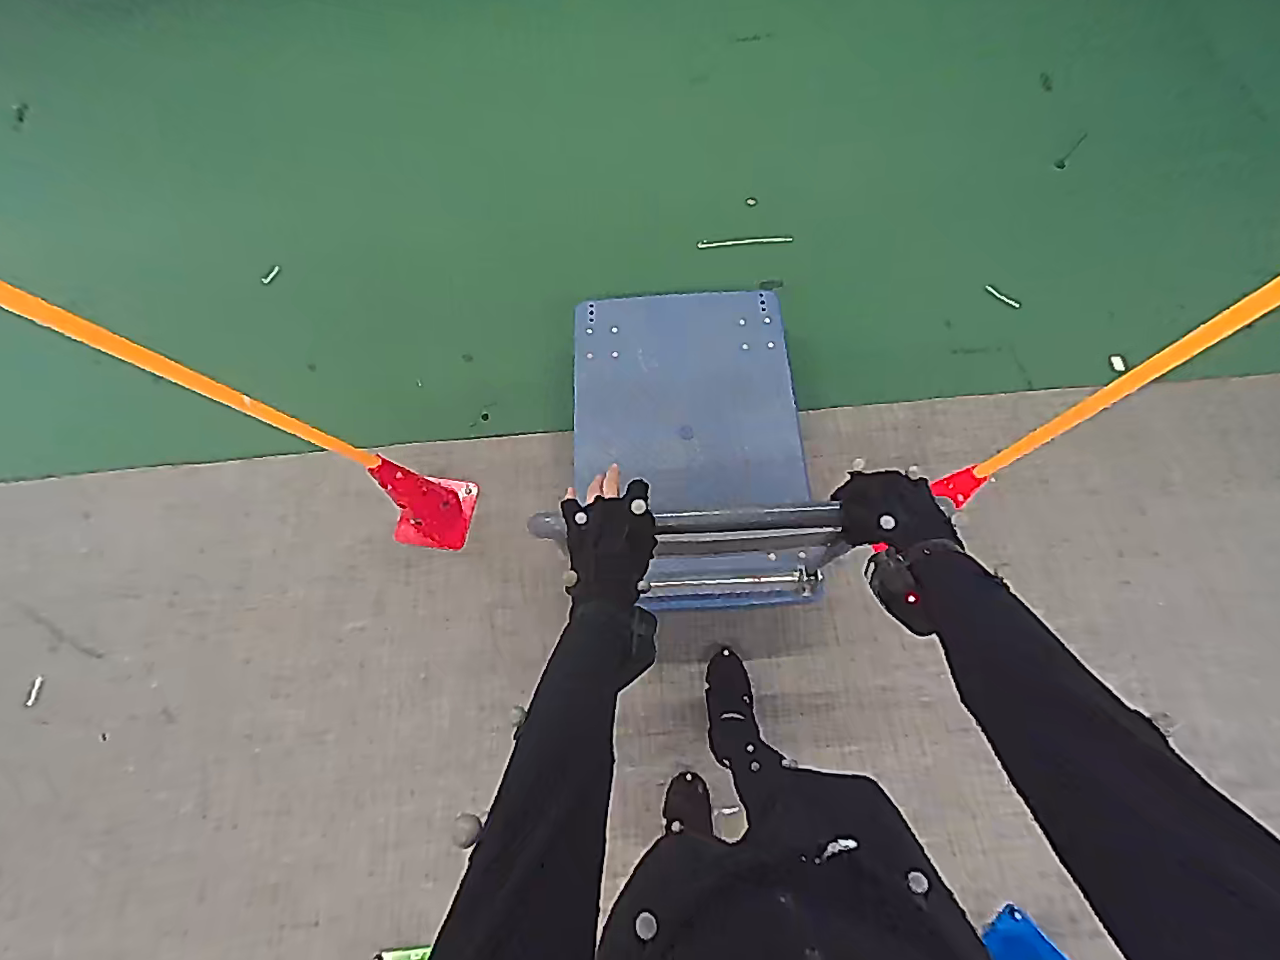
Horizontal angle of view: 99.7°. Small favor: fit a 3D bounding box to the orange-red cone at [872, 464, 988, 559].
[{"bbox_3d":[0.715,0.047,1.287,0.198,0.360,0.199,5,70,5],"label":"orange-red cone"}]
